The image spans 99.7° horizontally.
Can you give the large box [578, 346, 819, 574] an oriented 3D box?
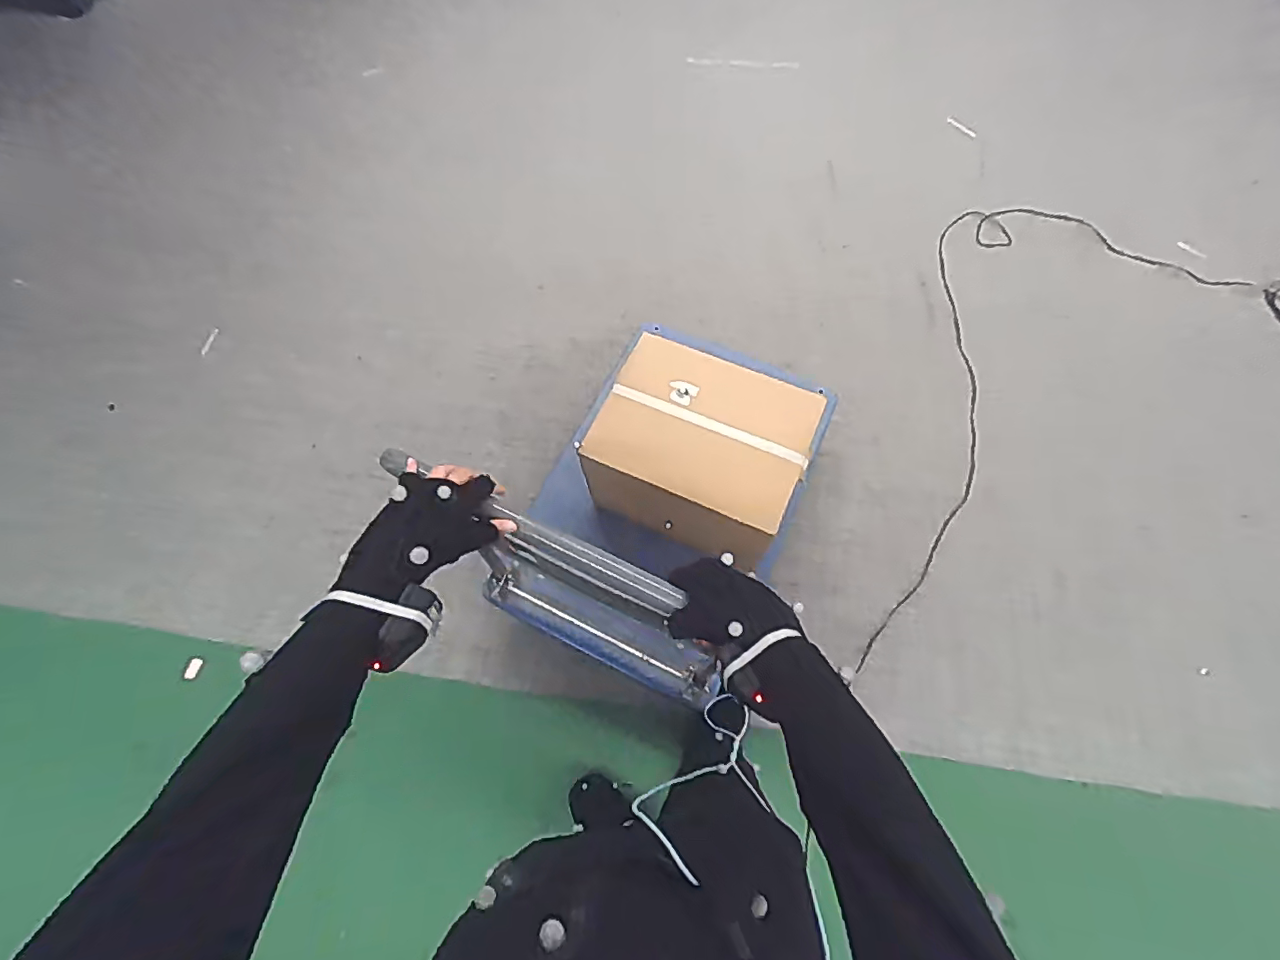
[{"bbox_3d":[0.128,-0.031,1.203,0.408,0.320,0.320,22,69,12],"label":"large box"}]
